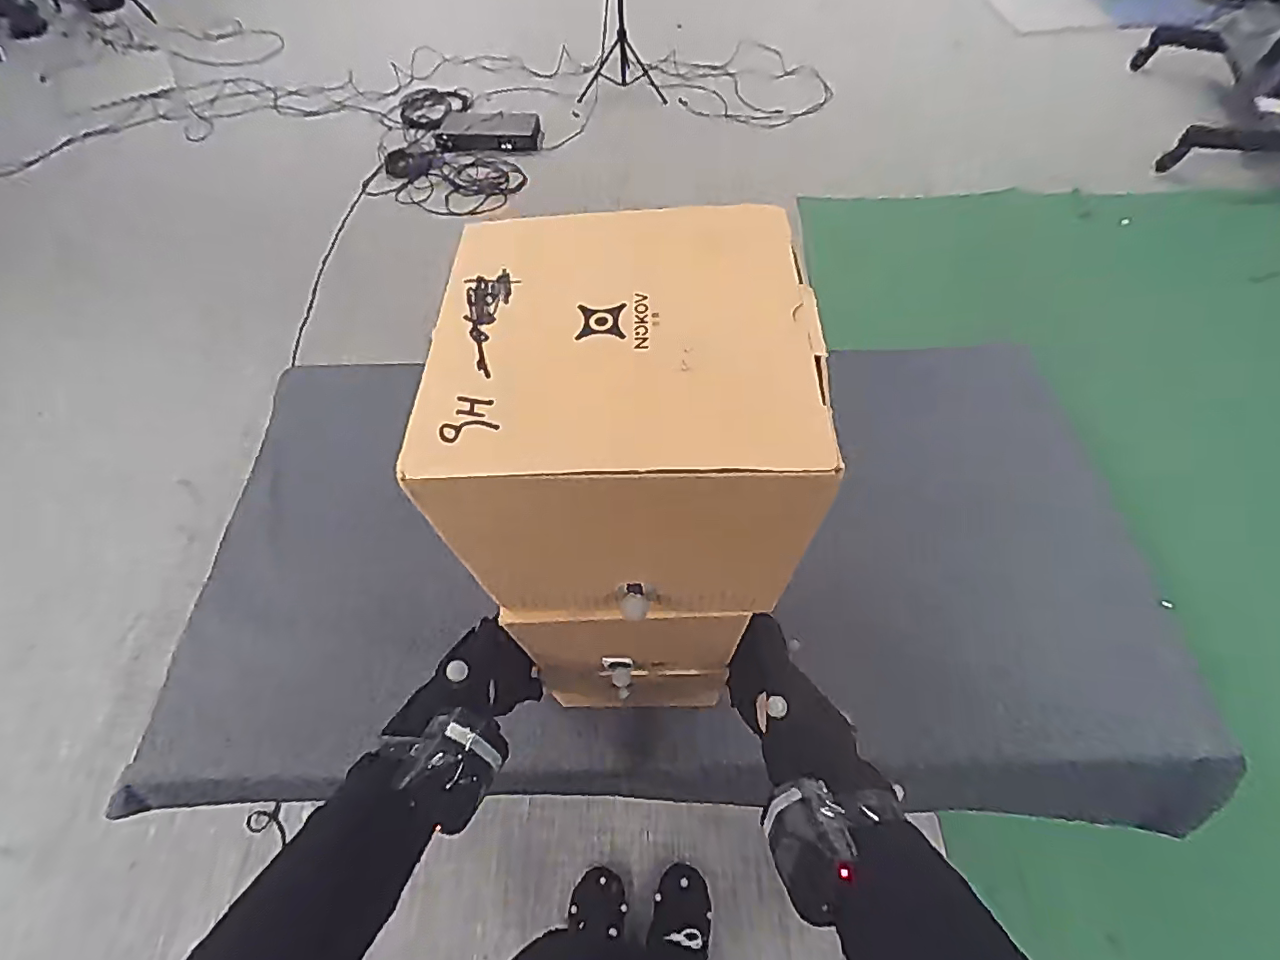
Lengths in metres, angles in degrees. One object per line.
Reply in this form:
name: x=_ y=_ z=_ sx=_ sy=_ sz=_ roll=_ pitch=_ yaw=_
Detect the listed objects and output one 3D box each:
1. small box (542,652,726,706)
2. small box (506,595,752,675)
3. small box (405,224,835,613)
small box: x=-0.004 y=0.157 z=0.612 sx=0.179 sy=0.176 sz=0.168 roll=-1 pitch=59 yaw=1
small box: x=-0.007 y=0.058 z=0.464 sx=0.168 sy=0.176 sz=0.179 roll=-3 pitch=60 yaw=1
small box: x=-0.006 y=-0.026 z=0.324 sx=0.179 sy=0.176 sz=0.168 roll=-1 pitch=58 yaw=2
